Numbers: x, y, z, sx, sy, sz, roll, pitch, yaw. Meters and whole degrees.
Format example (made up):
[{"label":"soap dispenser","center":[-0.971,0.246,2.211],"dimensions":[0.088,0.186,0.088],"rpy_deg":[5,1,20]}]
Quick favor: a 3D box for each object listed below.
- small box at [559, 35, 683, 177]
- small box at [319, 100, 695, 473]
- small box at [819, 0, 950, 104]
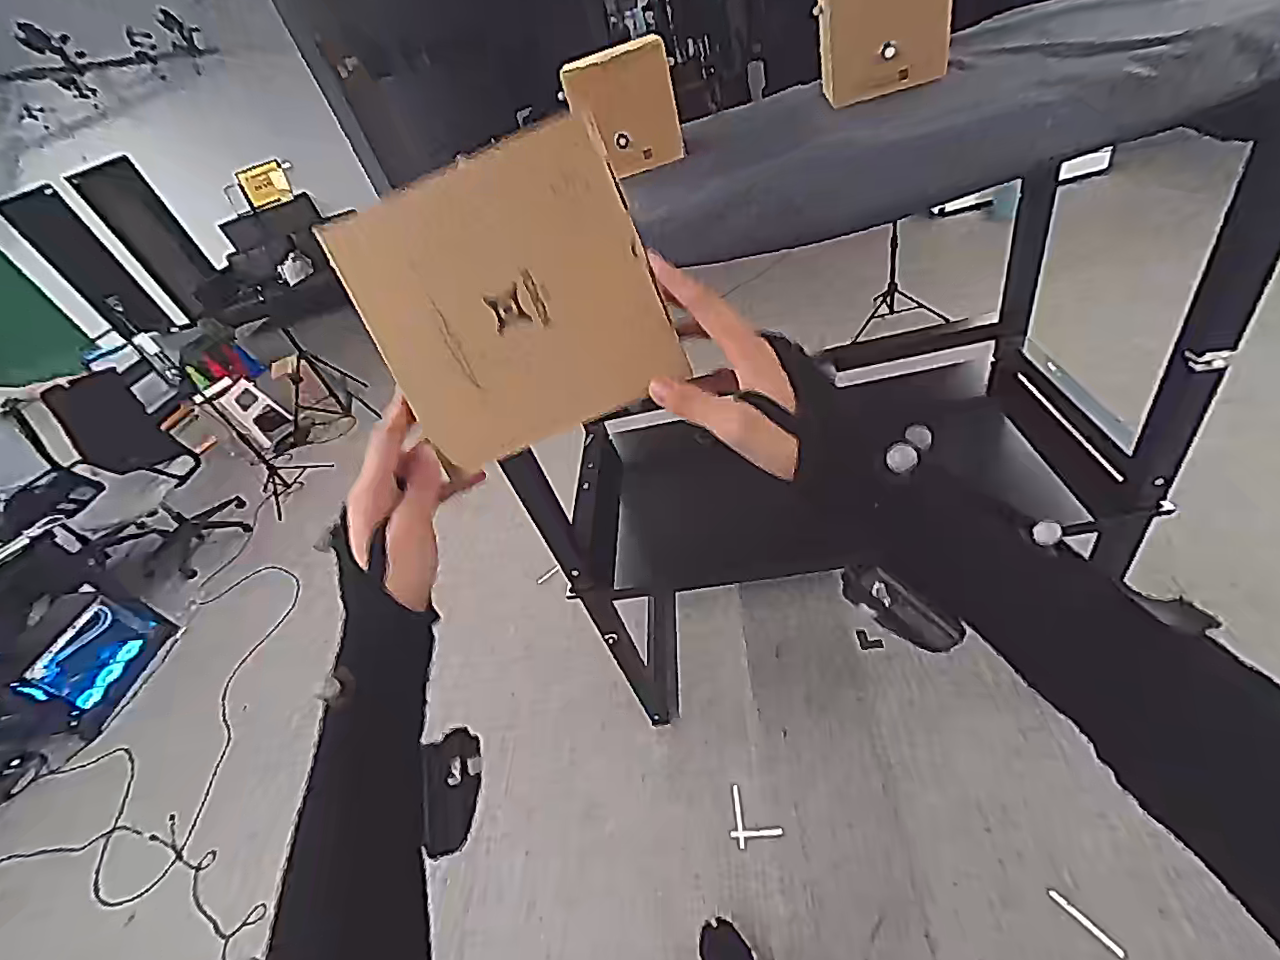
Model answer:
[{"label":"small box","center":[-0.030,-0.633,0.929],"dimensions":[0.168,0.176,0.179],"rpy_deg":[-14,41,7]},{"label":"small box","center":[-0.080,-0.129,0.400],"dimensions":[0.179,0.168,0.176],"rpy_deg":[-23,15,3]},{"label":"small box","center":[0.377,-0.723,0.856],"dimensions":[0.168,0.176,0.179],"rpy_deg":[-7,42,17]}]
